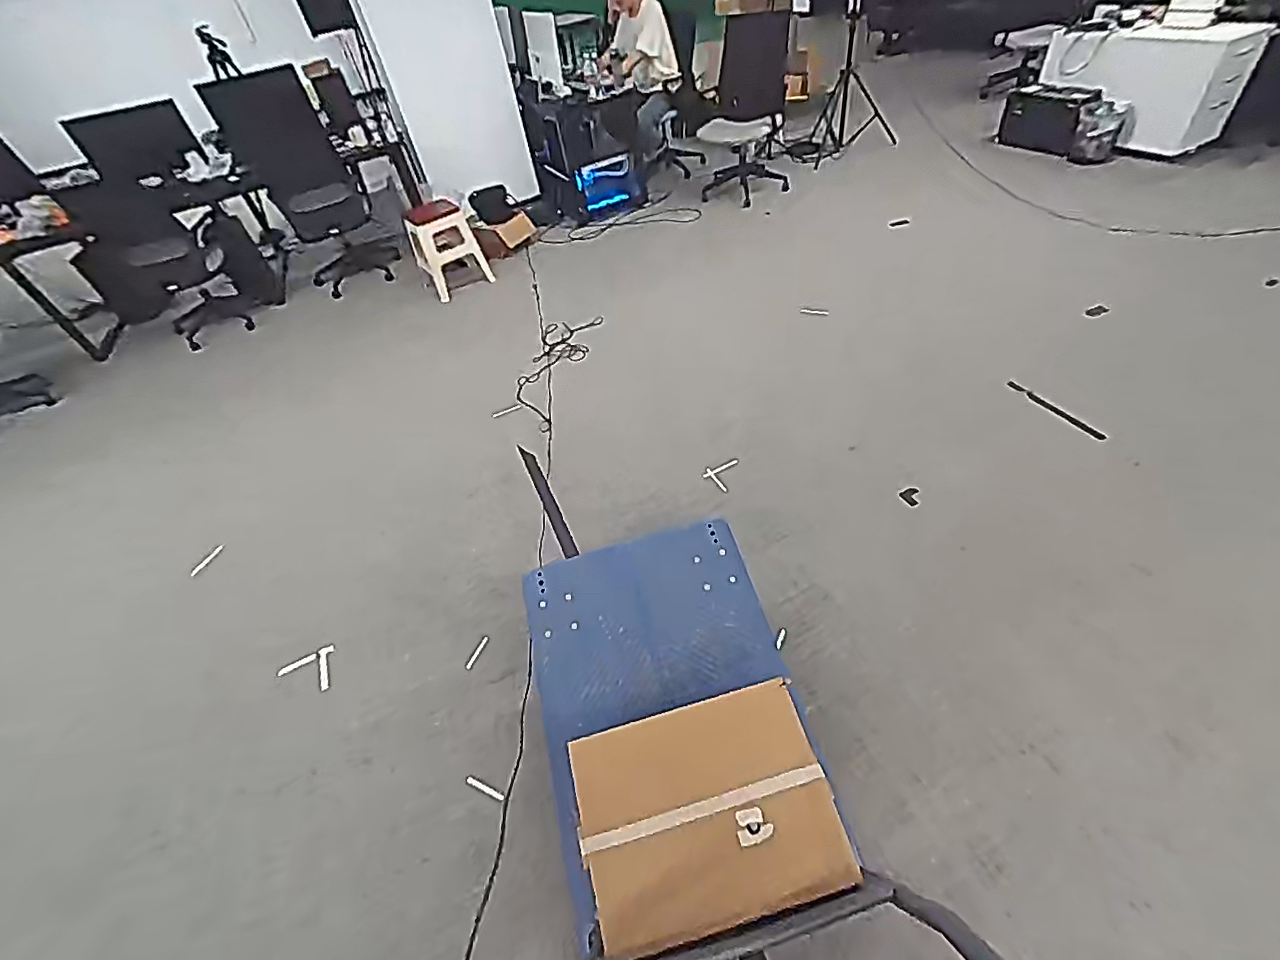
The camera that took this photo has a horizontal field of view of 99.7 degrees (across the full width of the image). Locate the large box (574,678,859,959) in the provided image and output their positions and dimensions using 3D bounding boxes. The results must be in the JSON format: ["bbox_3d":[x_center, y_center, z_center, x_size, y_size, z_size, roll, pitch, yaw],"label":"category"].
[{"bbox_3d":[0.123,0.622,1.023,0.408,0.320,0.320,-16,58,-5],"label":"large box"}]
